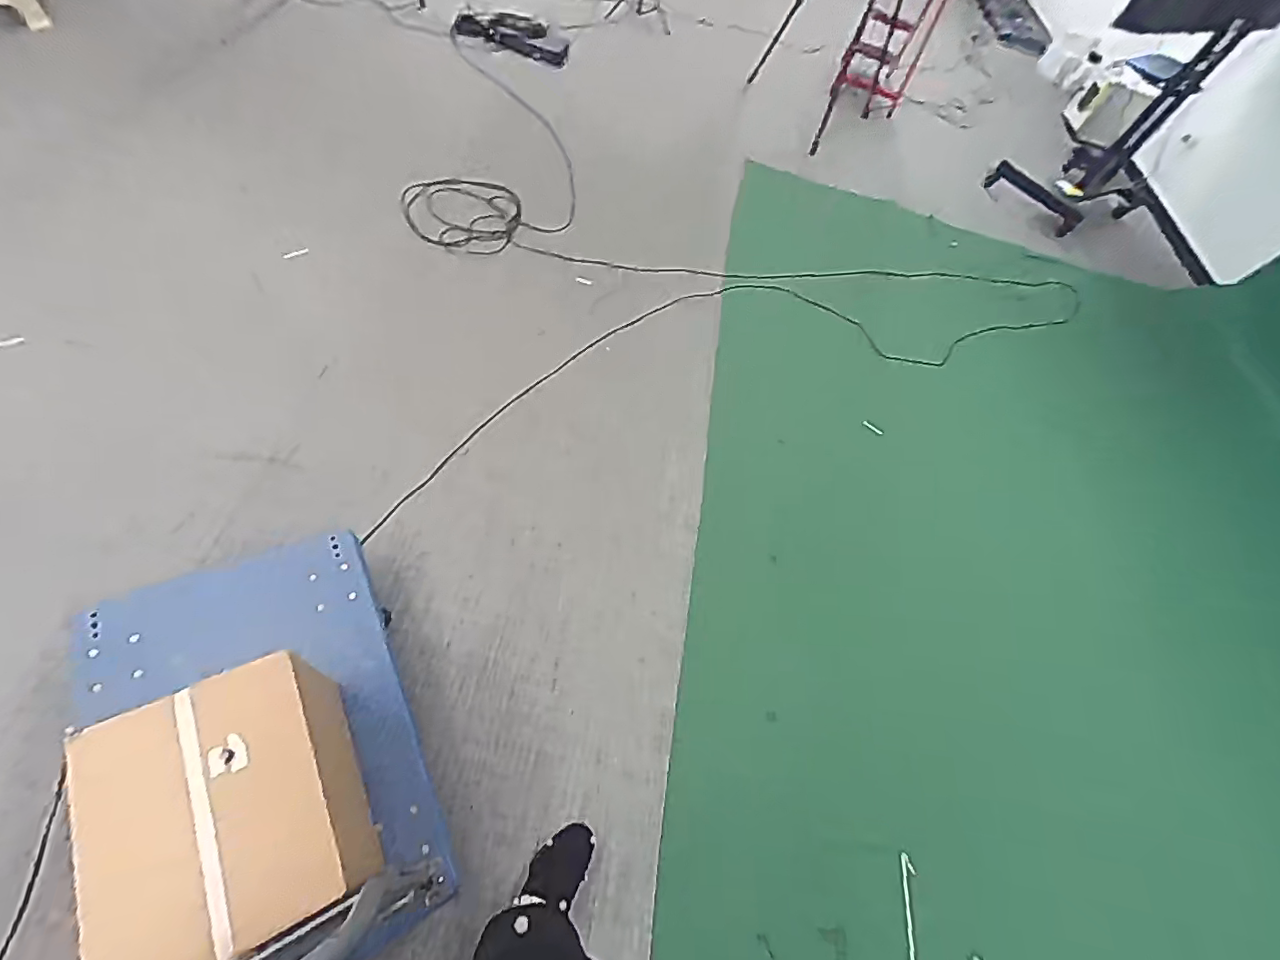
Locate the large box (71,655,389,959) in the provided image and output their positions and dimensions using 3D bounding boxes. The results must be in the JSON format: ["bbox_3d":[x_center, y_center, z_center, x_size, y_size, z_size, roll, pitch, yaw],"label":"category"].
[{"bbox_3d":[-0.684,0.590,0.947,0.320,0.320,0.408,-20,65,-23],"label":"large box"}]
